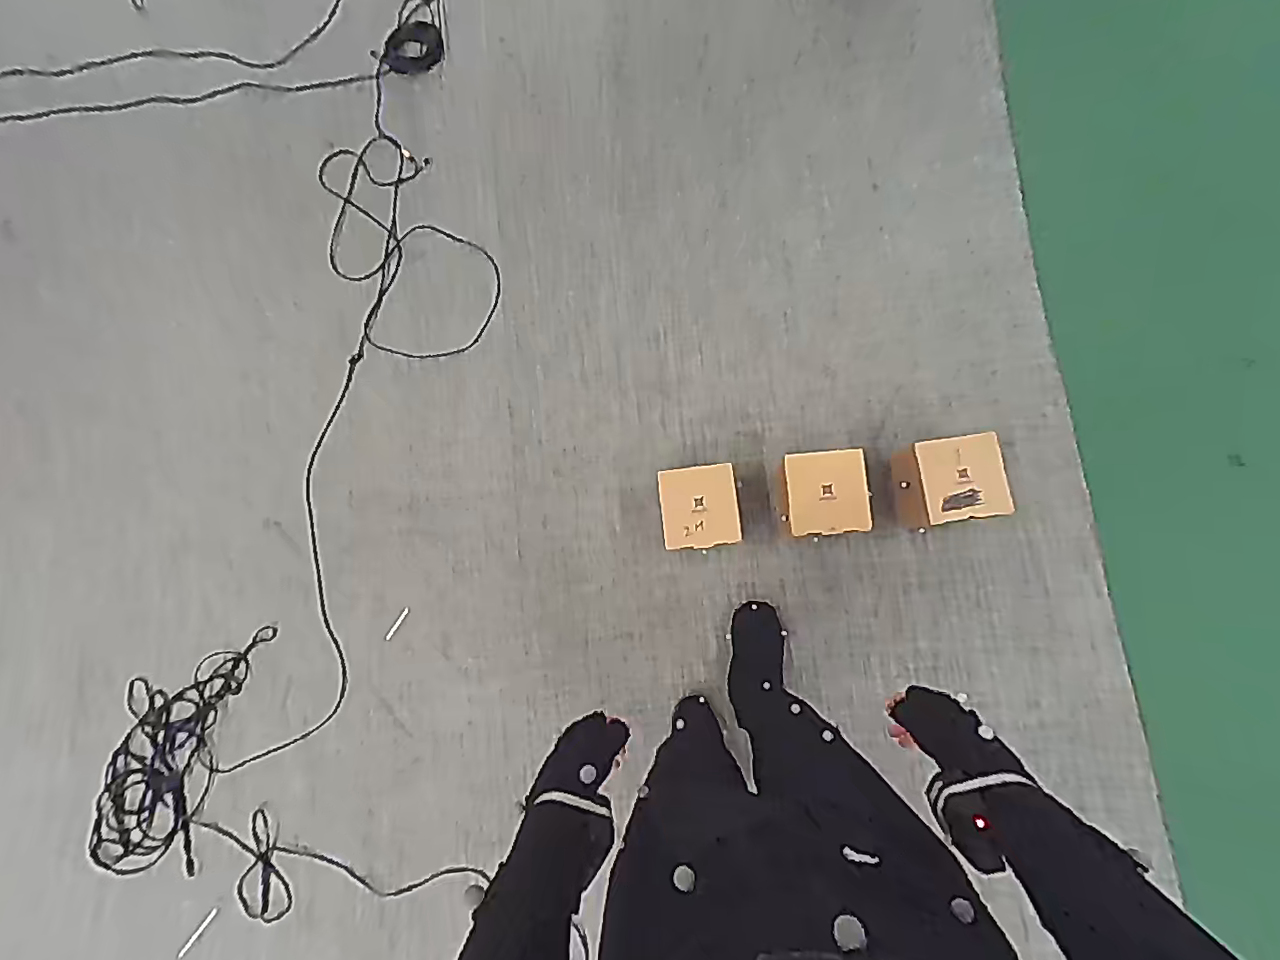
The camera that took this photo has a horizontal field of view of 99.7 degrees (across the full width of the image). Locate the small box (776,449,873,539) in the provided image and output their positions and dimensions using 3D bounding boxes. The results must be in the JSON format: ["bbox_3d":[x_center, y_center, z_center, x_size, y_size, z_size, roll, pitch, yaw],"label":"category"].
[{"bbox_3d":[0.404,0.036,1.211,0.168,0.176,0.179,-5,82,6],"label":"small box"}]

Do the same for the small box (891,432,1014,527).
[{"bbox_3d":[0.670,0.008,1.180,0.168,0.176,0.179,-8,80,6],"label":"small box"}]

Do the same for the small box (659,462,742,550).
[{"bbox_3d":[0.139,0.066,1.238,0.168,0.176,0.179,-7,81,7],"label":"small box"}]
